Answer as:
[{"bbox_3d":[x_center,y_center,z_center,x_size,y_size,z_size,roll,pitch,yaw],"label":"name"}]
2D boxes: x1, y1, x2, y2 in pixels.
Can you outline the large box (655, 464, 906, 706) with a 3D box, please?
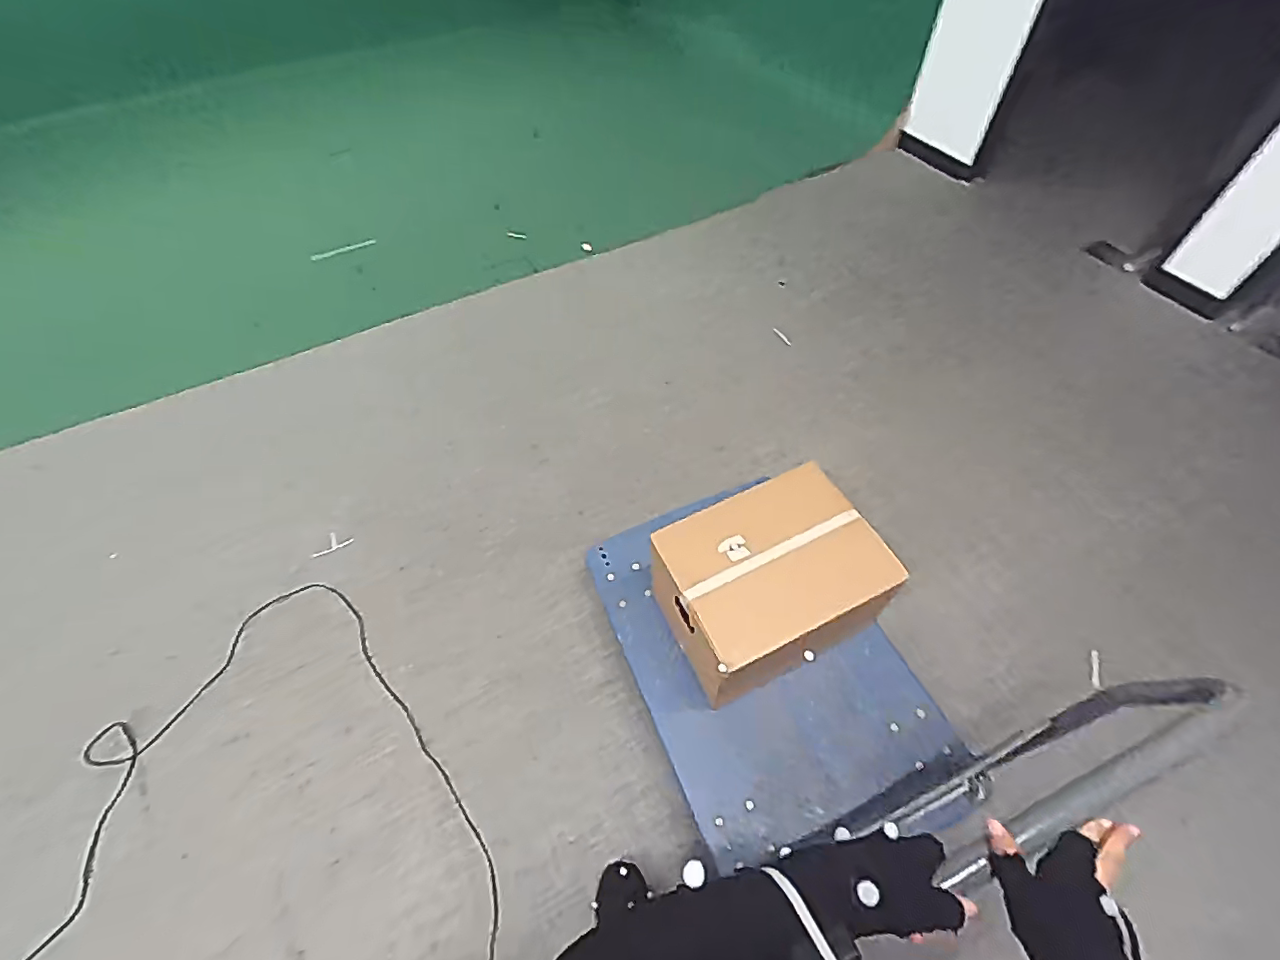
[{"bbox_3d":[0.281,0.234,1.194,0.408,0.320,0.320,-25,57,-12],"label":"large box"}]
